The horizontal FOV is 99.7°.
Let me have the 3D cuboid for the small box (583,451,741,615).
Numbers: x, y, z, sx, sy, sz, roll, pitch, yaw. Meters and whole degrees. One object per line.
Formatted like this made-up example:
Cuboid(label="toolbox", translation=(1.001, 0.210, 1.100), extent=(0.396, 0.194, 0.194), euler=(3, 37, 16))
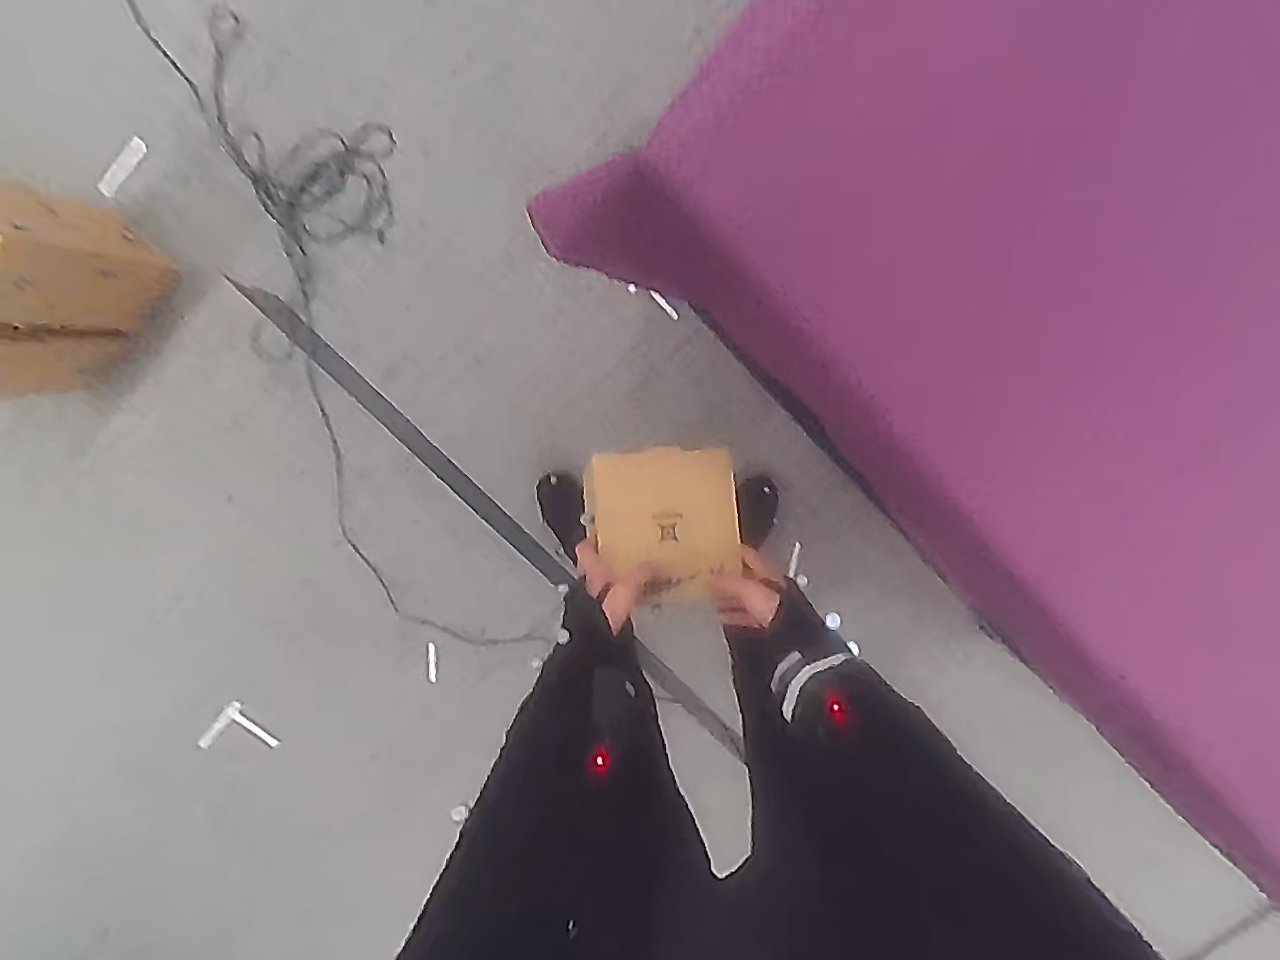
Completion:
Cuboid(label="small box", translation=(0.016, 0.068, 0.680), extent=(0.168, 0.176, 0.179), euler=(-3, 83, -8))
